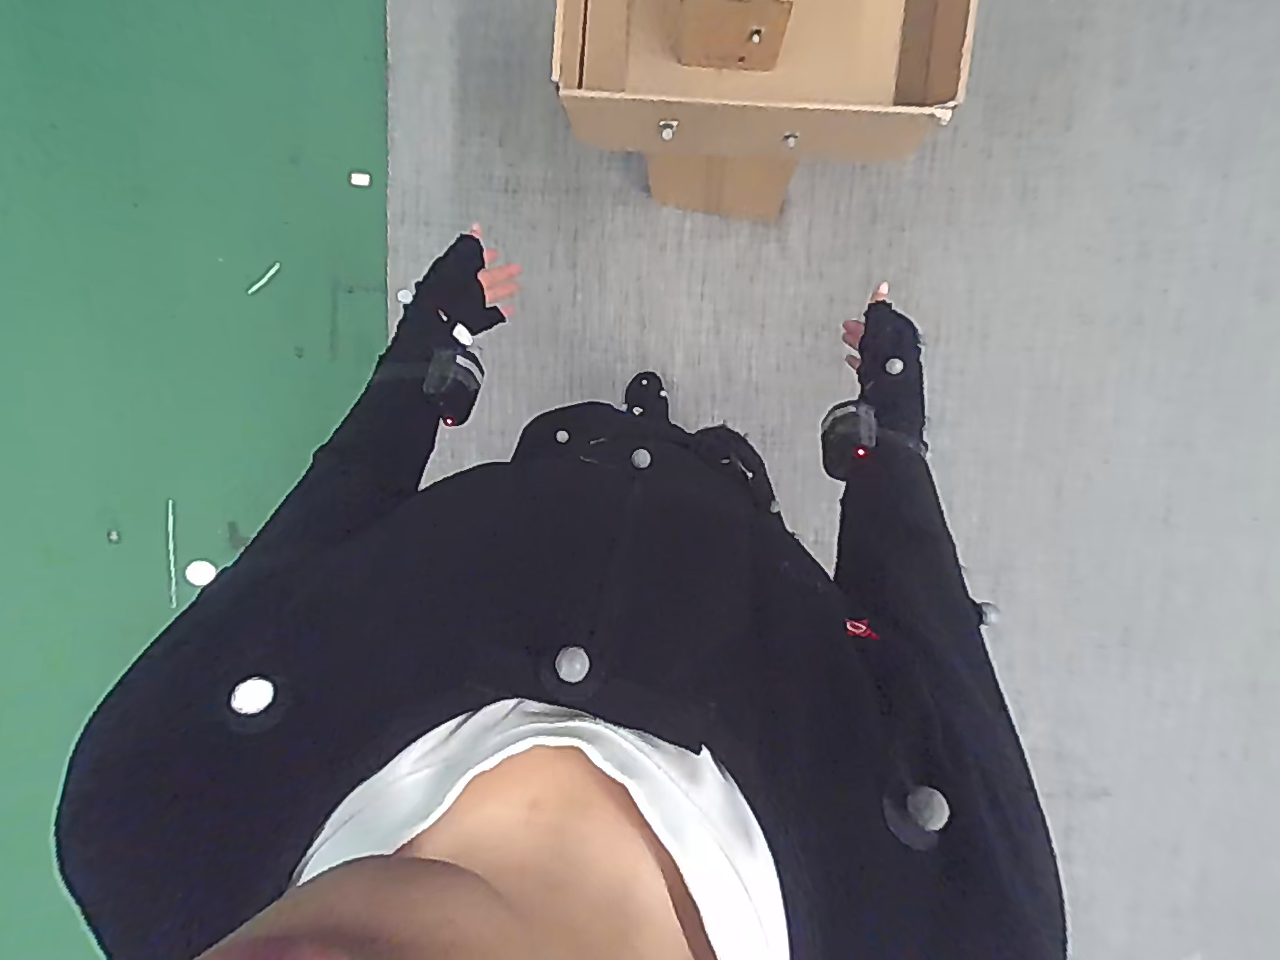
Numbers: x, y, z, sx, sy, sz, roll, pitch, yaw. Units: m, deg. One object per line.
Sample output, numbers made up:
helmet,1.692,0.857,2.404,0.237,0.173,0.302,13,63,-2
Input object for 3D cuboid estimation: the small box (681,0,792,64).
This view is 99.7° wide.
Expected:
small box,0.154,-0.794,0.843,0.168,0.176,0.179,5,95,1
